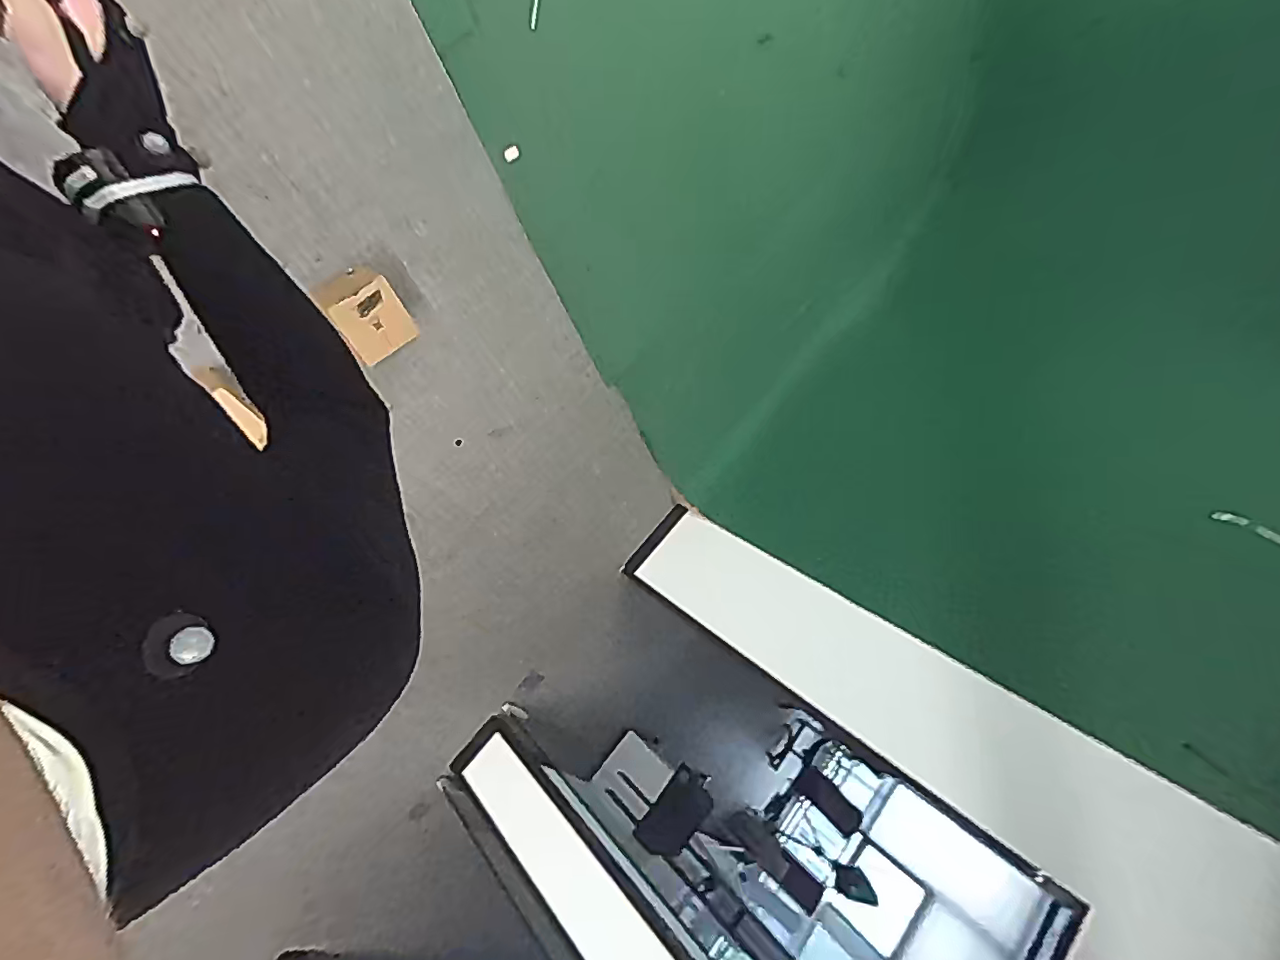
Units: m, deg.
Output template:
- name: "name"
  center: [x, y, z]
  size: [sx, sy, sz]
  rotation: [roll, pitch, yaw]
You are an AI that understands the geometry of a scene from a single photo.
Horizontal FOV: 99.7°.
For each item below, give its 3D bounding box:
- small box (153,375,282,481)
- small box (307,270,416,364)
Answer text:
- name: "small box"
  center: [-1.021, -0.134, 1.304]
  size: [0.168, 0.176, 0.179]
  rotation: [-46, 139, -18]
- name: "small box"
  center: [-0.744, -0.443, 1.444]
  size: [0.168, 0.176, 0.179]
  rotation: [-43, 140, -20]
